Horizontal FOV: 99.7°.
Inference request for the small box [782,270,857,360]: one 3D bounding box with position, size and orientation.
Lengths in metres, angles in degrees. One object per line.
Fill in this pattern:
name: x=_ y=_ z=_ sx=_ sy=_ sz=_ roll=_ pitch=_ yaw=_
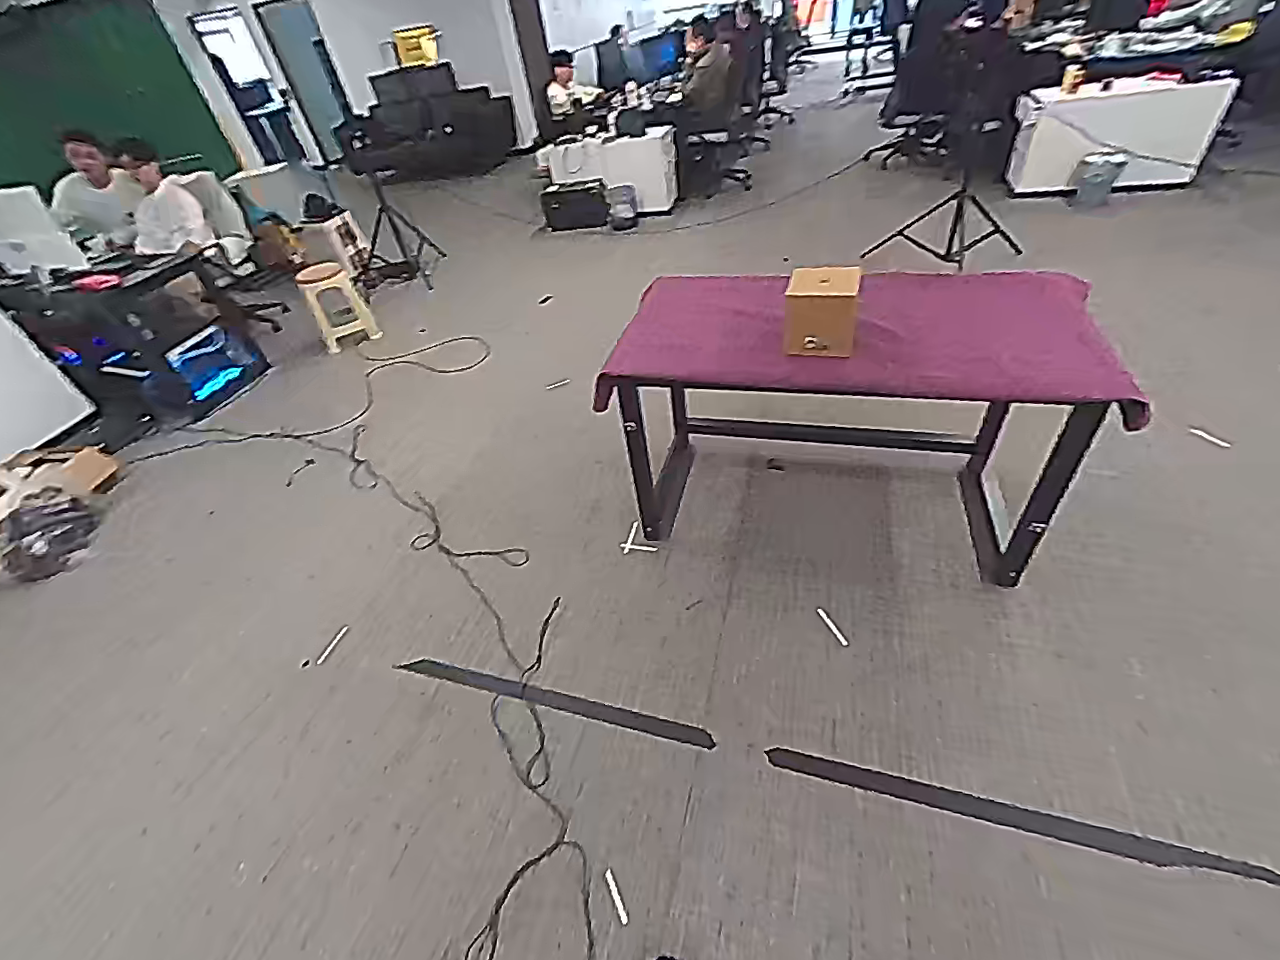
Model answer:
small box: x=0.465 y=-0.431 z=1.407 sx=0.168 sy=0.176 sz=0.179 roll=6 pitch=44 yaw=19
